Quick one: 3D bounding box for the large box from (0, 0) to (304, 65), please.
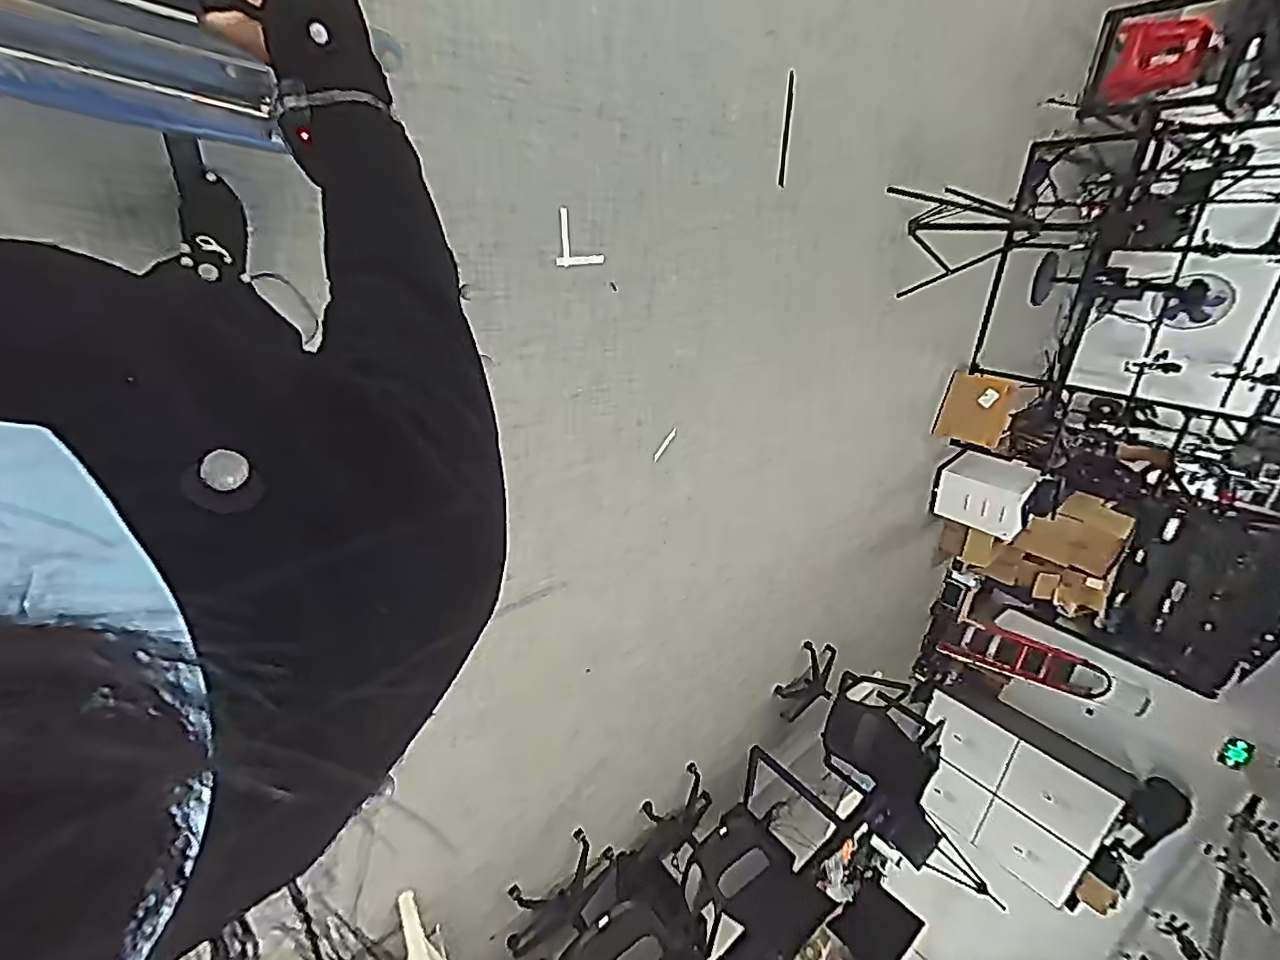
[{"bbox_3d":[-0.708,-0.783,0.676,0.408,0.320,0.320,-15,120,-39],"label":"large box"}]
